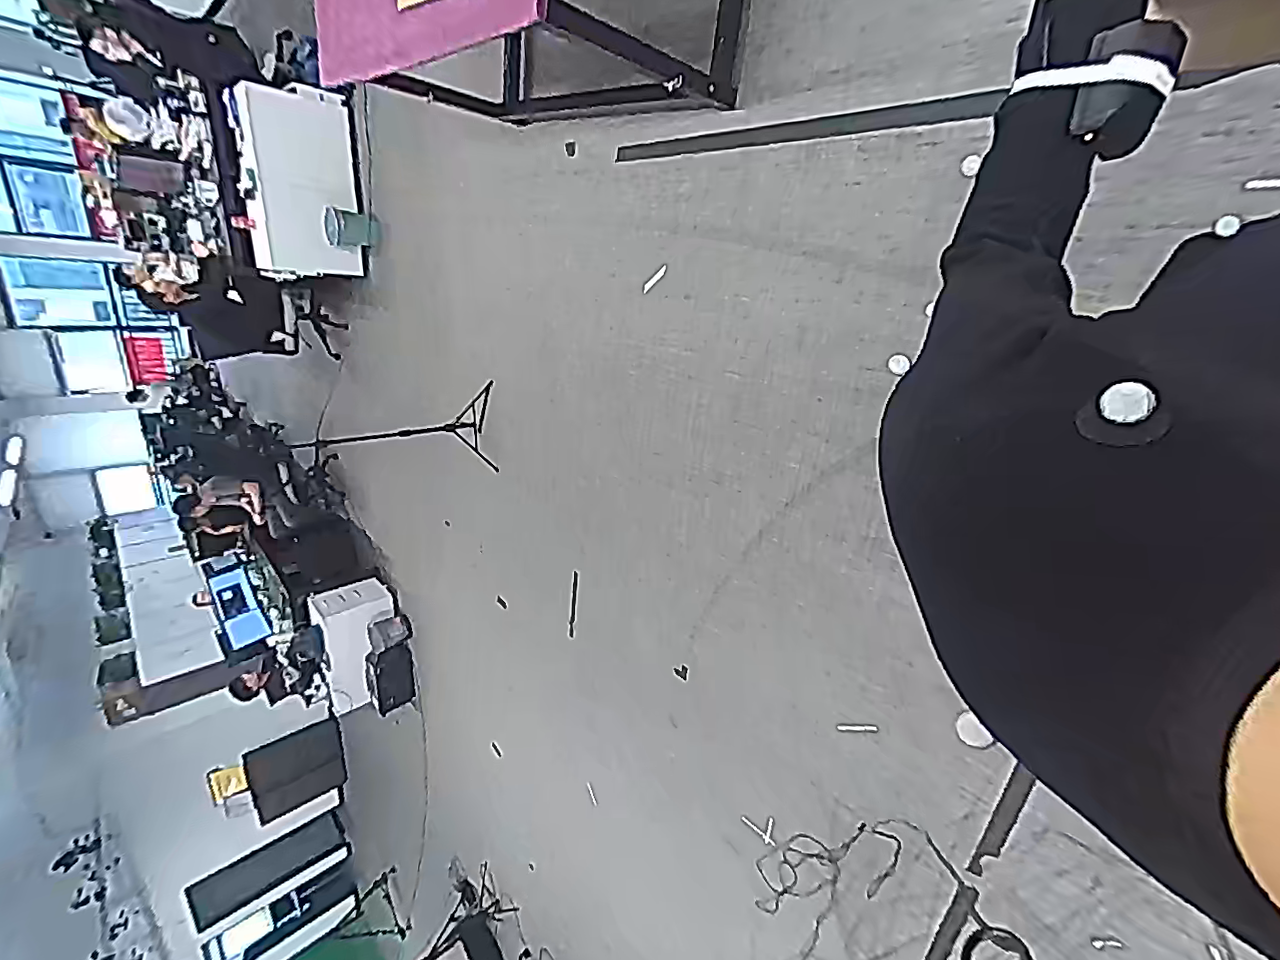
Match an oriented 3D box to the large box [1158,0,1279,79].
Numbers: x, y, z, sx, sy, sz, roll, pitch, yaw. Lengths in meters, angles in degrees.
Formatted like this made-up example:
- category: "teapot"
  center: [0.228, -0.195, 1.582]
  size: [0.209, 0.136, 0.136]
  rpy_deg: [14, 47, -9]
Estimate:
- category: "large box"
  center: [0.580, -0.431, 0.263]
  size: [0.408, 0.320, 0.320]
  rpy_deg: [25, 126, 37]
